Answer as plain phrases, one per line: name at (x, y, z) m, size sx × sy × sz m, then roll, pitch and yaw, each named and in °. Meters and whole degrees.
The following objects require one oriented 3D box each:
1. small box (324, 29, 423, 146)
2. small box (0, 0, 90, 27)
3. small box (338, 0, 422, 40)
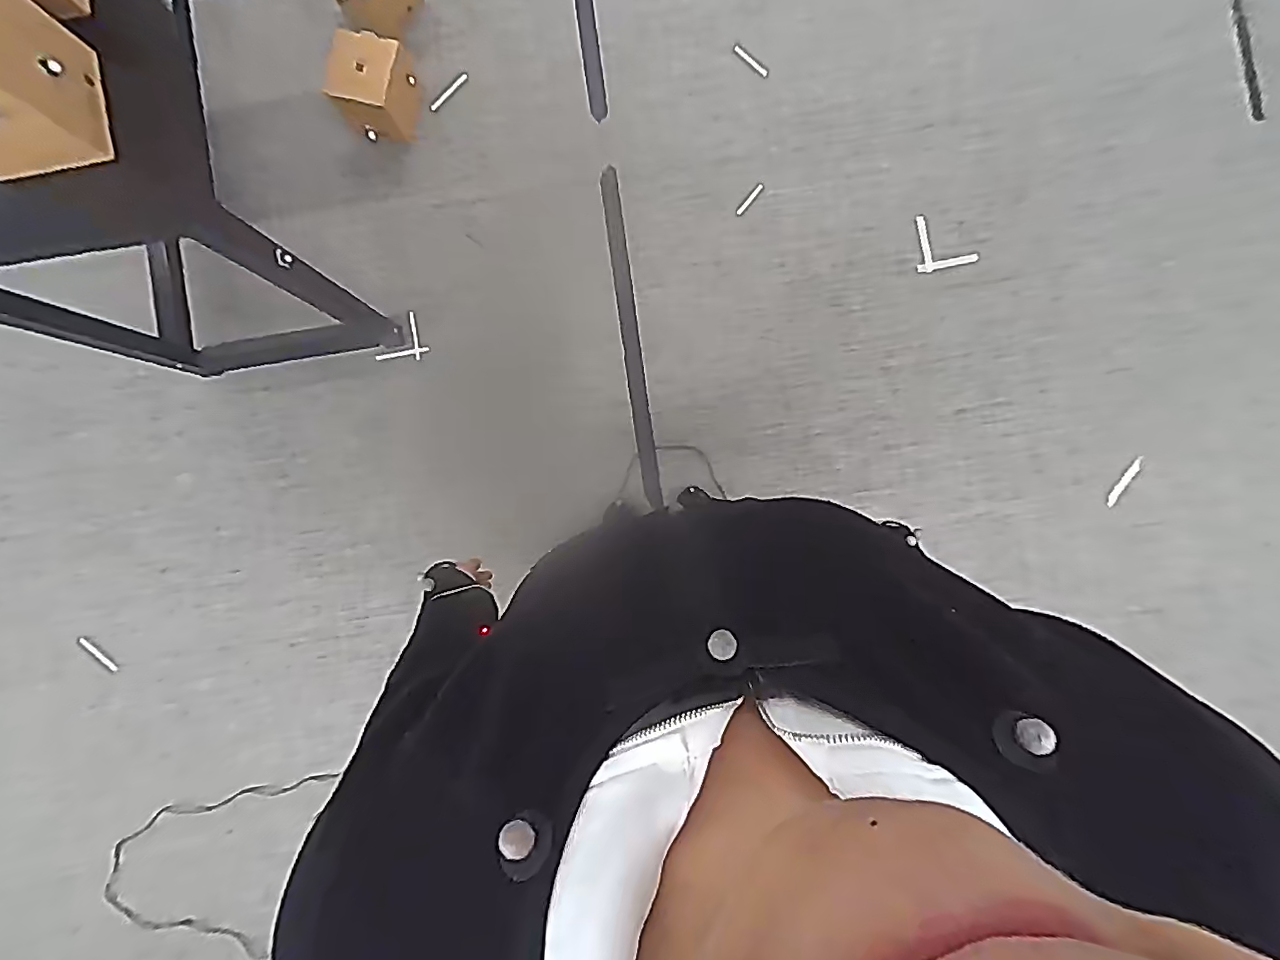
small box at (-0.705, -1.045, 1.451) m, size 0.168 × 0.176 × 0.179 m, roll 12°, pitch 90°, yaw 1°
small box at (-0.904, -0.751, 0.718) m, size 0.179 × 0.176 × 0.168 m, roll -9°, pitch 90°, yaw 0°
small box at (-0.728, -1.347, 1.450) m, size 0.179 × 0.176 × 0.168 m, roll 35°, pitch 90°, yaw 0°
